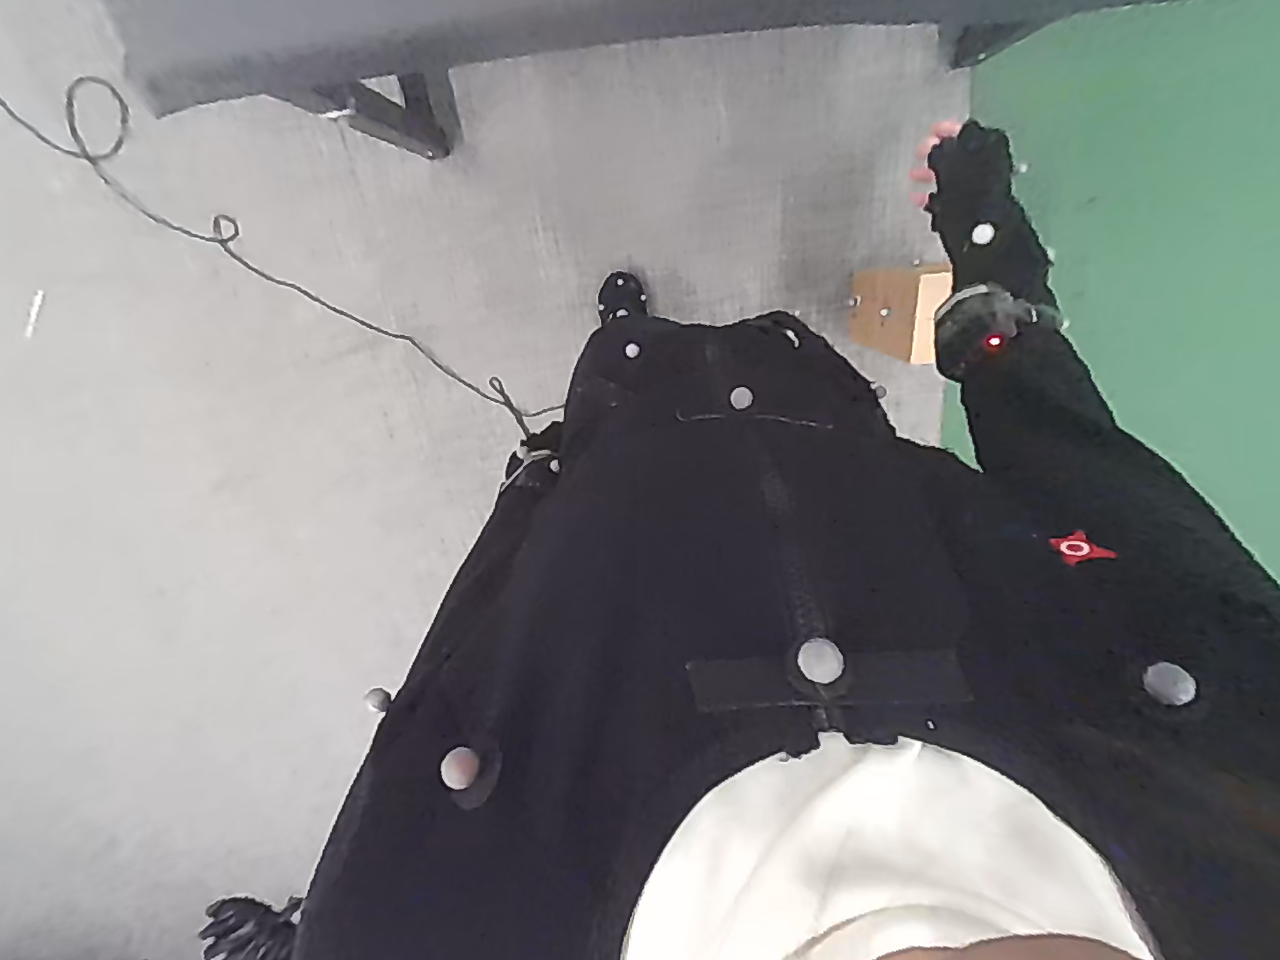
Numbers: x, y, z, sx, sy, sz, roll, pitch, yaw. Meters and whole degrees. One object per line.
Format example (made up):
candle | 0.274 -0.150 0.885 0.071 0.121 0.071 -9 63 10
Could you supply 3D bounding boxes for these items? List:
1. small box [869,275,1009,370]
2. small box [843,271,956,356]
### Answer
small box | 0.587 -0.320 1.085 0.179 0.176 0.168 -2 112 2
small box | 0.584 -0.384 1.237 0.179 0.176 0.168 -4 112 3
